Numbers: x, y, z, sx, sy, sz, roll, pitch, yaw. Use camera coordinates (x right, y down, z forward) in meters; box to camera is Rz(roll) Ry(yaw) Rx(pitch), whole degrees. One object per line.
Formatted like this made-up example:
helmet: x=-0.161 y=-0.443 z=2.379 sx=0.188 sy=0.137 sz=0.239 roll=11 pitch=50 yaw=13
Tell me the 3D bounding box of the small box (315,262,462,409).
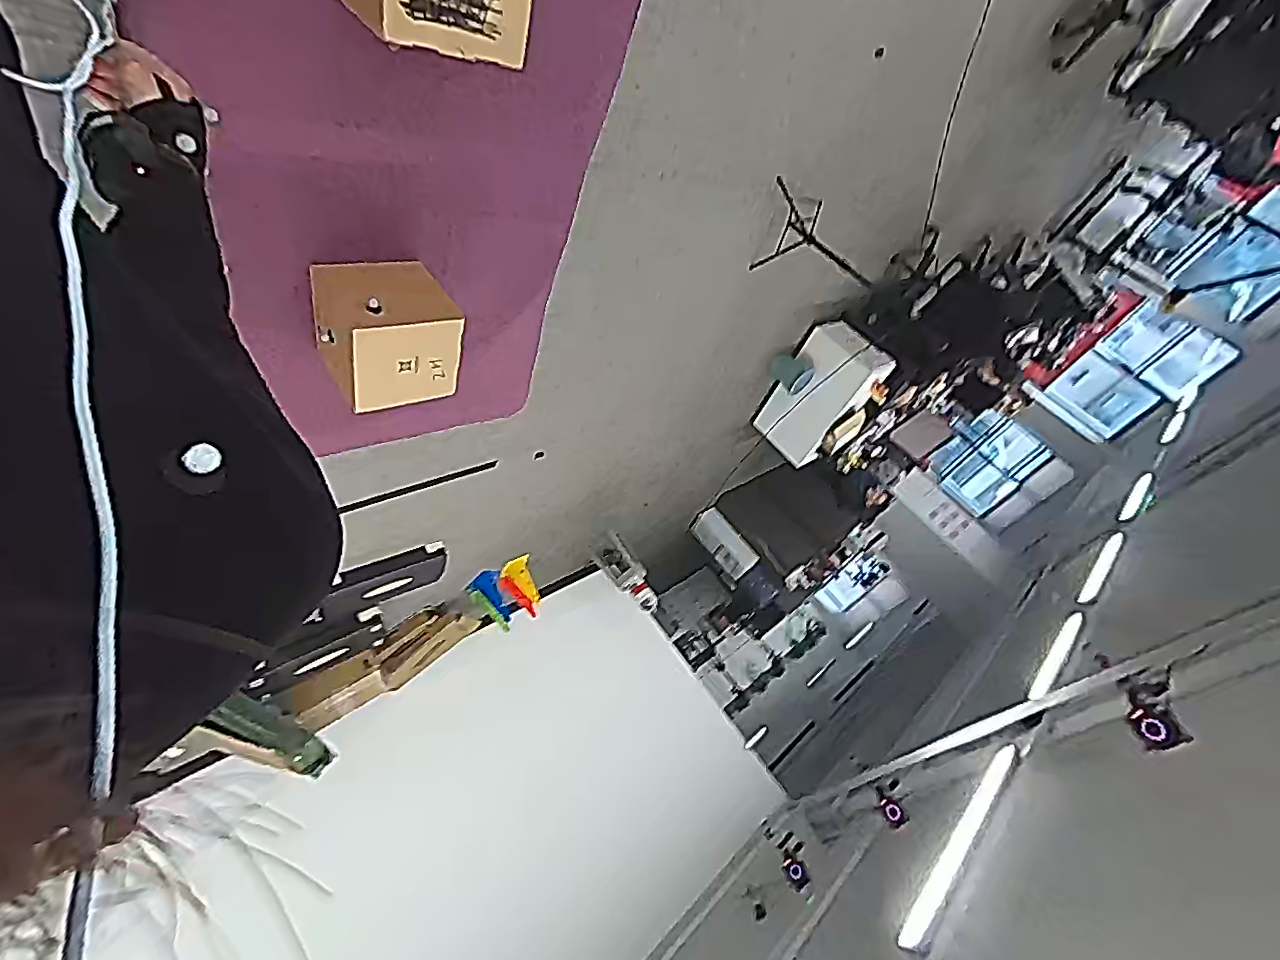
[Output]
small box: x=-0.427 y=-0.248 z=0.909 sx=0.179 sy=0.176 sz=0.168 roll=-22 pitch=152 yaw=-39
